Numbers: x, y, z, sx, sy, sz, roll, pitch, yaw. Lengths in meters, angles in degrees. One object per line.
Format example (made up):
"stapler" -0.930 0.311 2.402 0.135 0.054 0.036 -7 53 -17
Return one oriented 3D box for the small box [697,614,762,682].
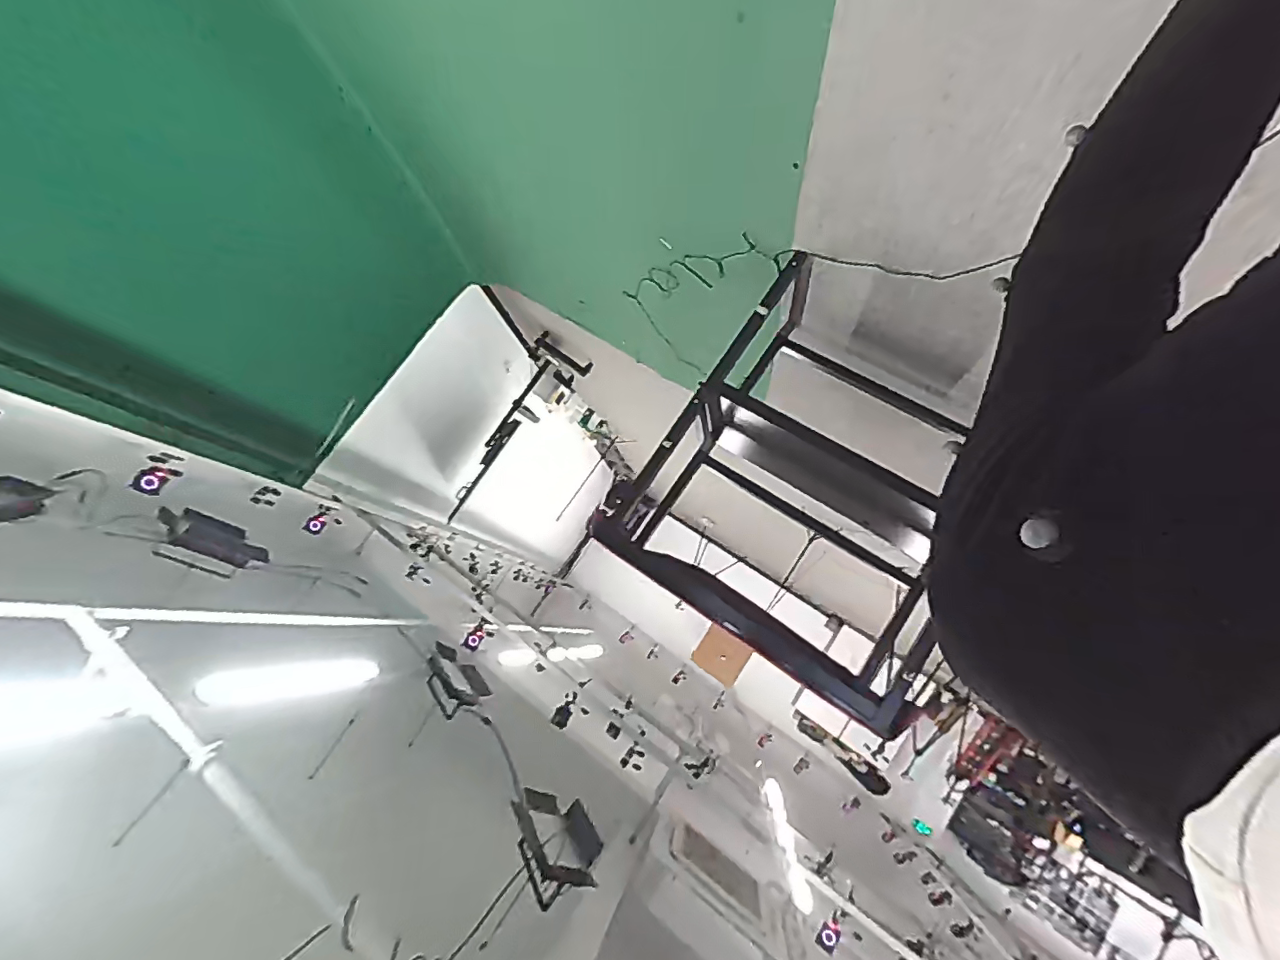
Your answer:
"small box" 0.328 0.613 1.999 0.179 0.176 0.168 32 173 13
